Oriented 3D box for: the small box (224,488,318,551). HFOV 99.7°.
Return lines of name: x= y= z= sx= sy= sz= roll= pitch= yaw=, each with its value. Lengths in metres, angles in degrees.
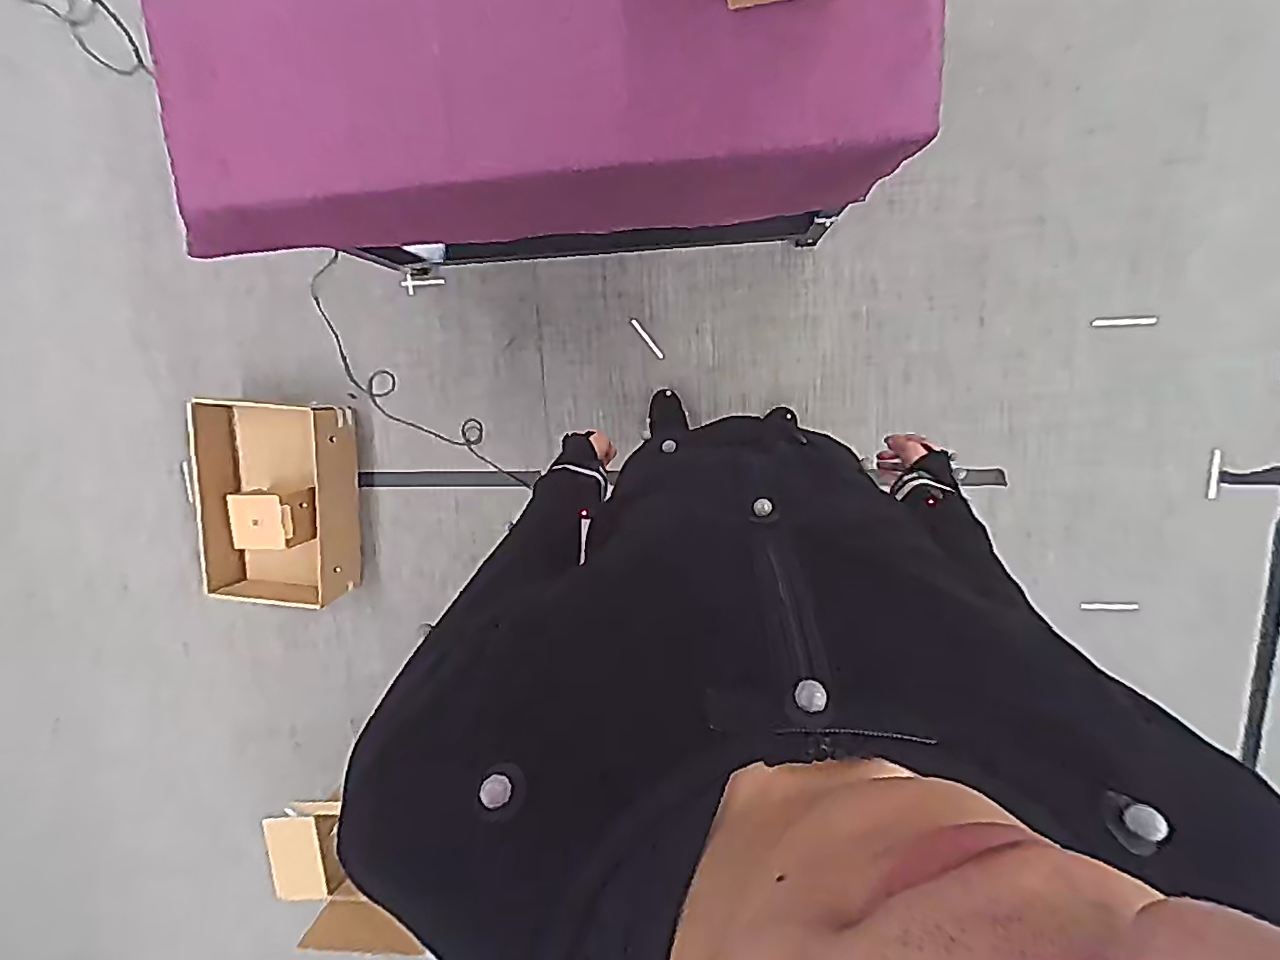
small box: x=-1.121 y=0.117 z=1.663 sx=0.179 sy=0.176 sz=0.168 roll=0 pitch=98 yaw=7
